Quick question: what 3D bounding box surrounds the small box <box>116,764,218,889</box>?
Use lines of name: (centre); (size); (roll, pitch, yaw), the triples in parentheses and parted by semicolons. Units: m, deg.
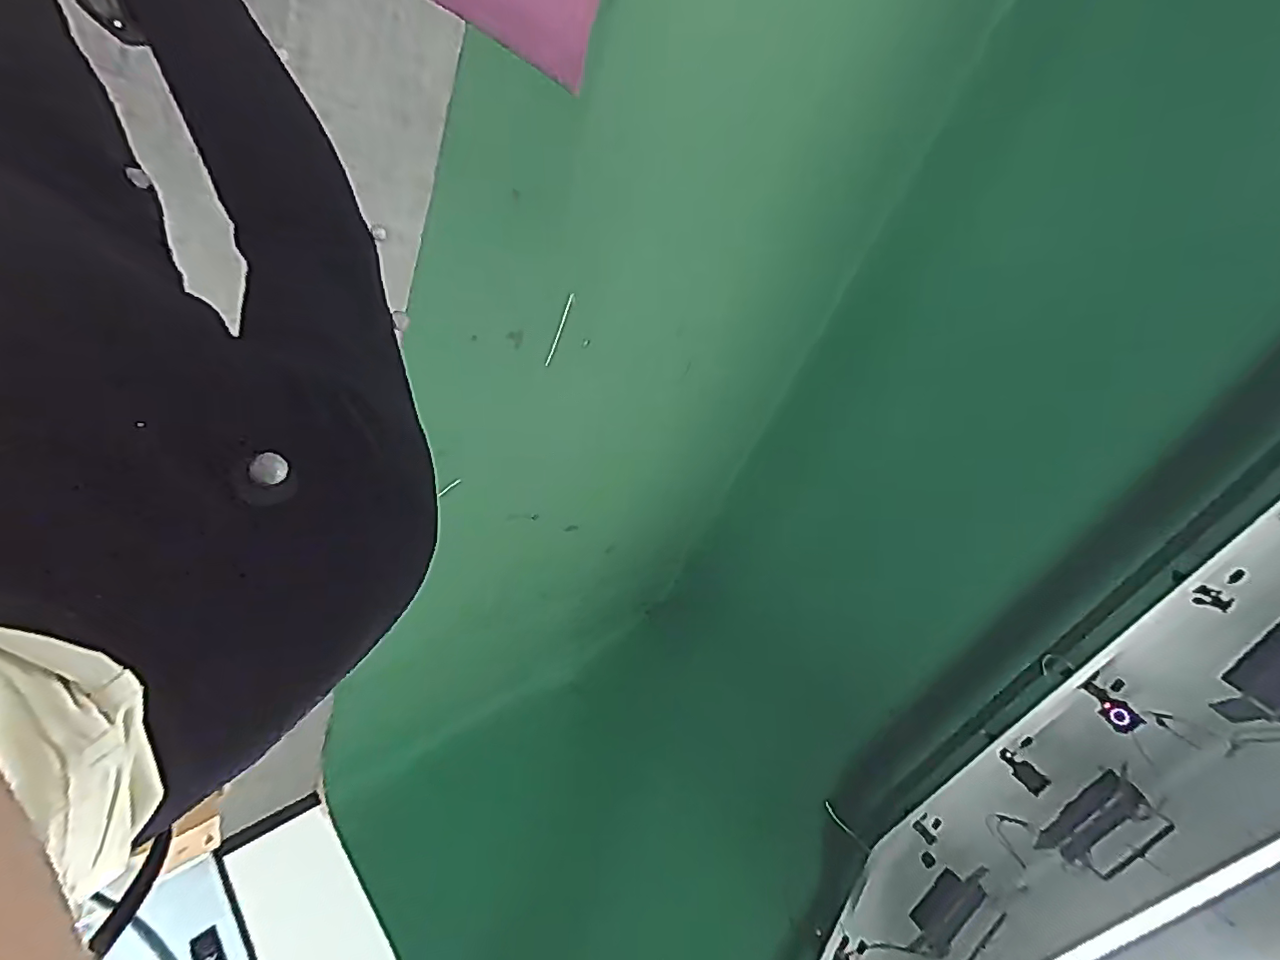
small box: (-1.214, 0.880, 1.387); (0.179, 0.176, 0.168); (-12, 135, -48)

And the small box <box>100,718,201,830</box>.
small box: (-1.324, 0.785, 1.464); (0.179, 0.176, 0.168); (-9, 133, -49)
